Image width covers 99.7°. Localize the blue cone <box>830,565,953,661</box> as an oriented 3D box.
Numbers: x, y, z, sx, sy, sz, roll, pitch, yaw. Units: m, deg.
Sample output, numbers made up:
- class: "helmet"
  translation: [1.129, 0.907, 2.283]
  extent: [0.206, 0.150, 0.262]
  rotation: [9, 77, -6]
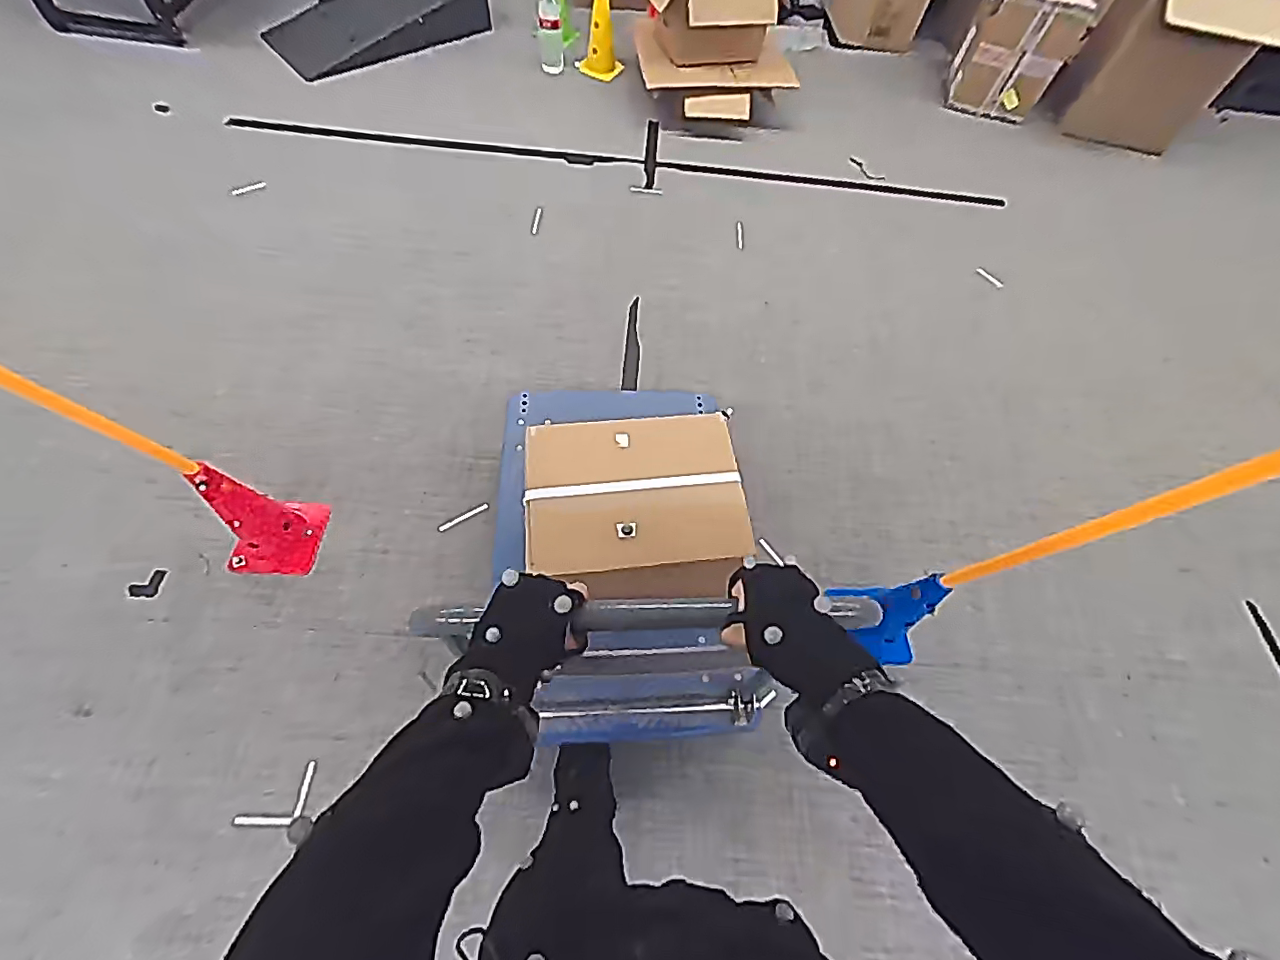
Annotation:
- class: "blue cone"
  translation: [0.618, 0.294, 1.273]
  extent: [0.193, 0.380, 0.192]
  rotation: [2, 60, -5]
